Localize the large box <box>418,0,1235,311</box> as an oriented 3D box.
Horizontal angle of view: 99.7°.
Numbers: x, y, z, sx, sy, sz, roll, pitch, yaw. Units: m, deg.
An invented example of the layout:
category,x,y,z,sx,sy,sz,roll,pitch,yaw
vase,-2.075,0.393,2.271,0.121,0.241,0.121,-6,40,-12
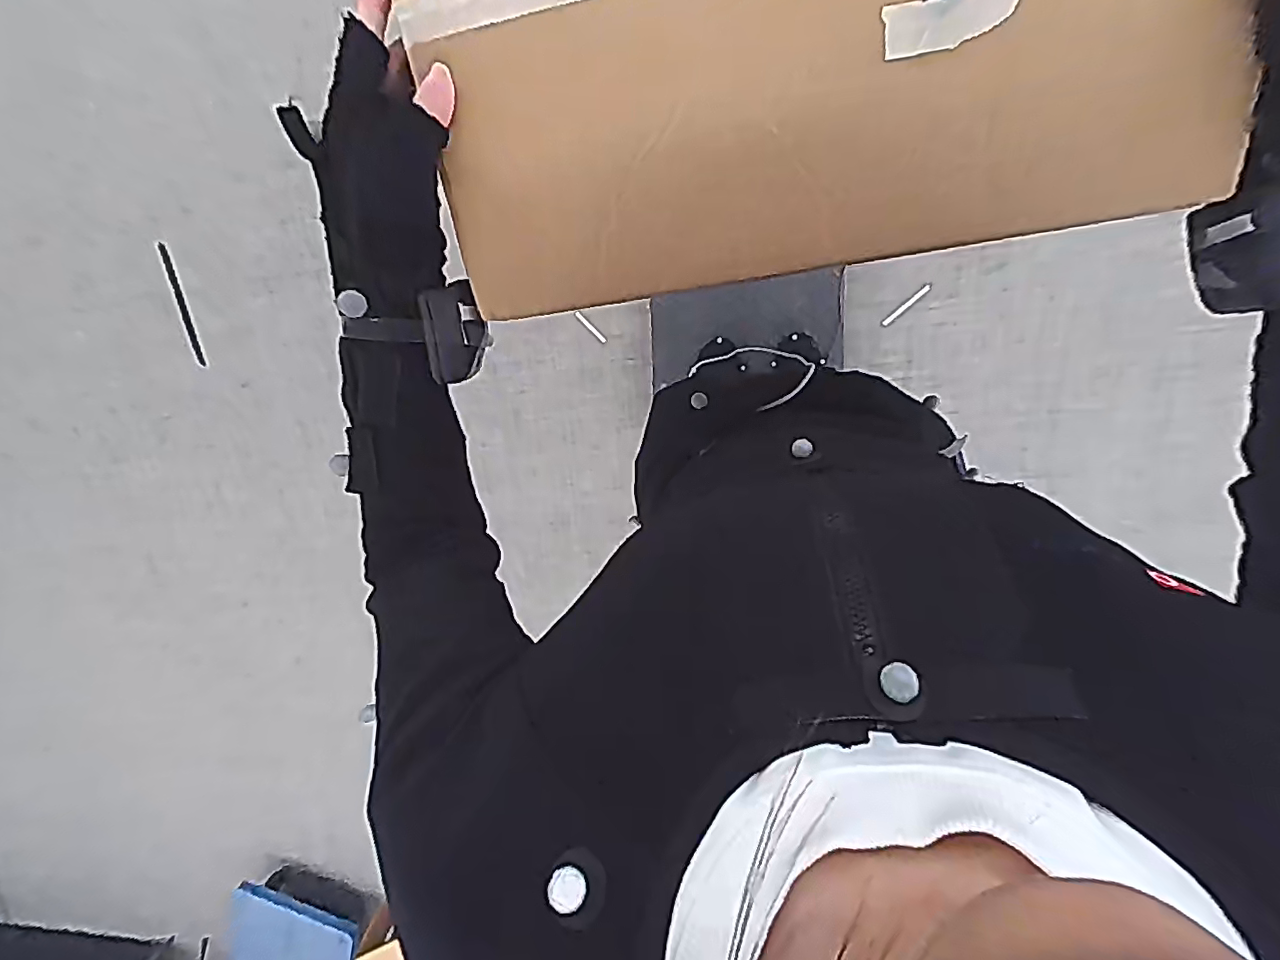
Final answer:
category,x,y,z,sx,sy,sz,roll,pitch,yaw
large box,0.090,-0.329,0.399,0.408,0.320,0.320,-6,113,10
